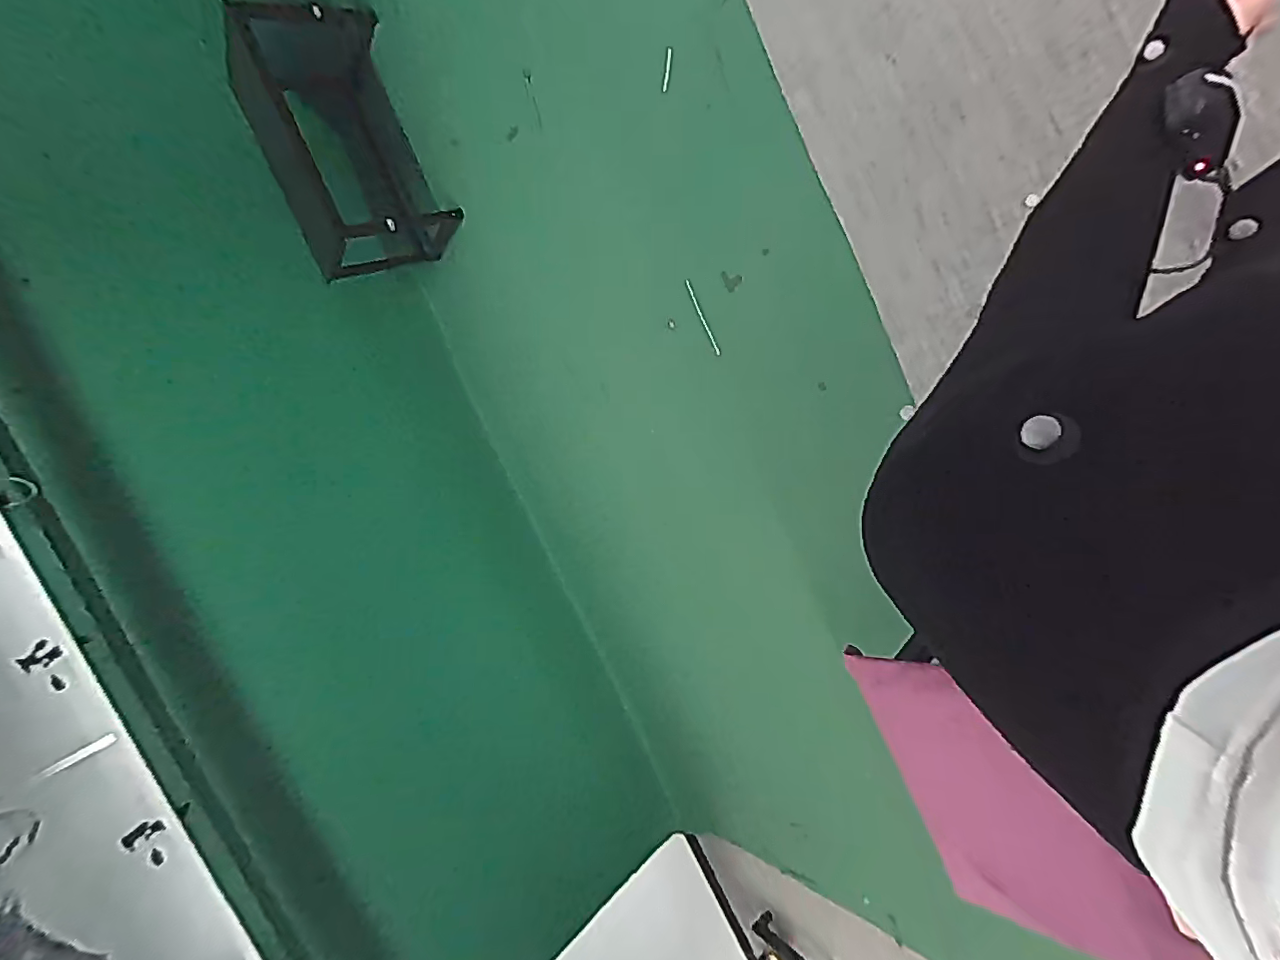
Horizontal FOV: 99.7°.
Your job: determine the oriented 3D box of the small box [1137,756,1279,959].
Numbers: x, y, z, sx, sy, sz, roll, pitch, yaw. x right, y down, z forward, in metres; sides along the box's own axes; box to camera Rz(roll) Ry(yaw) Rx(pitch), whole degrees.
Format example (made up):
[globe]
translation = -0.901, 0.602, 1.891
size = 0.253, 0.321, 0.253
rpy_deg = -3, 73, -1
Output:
[small box]
translation = 0.840, 0.530, 0.751
size = 0.168, 0.176, 0.179
rpy_deg = -16, 101, 55
